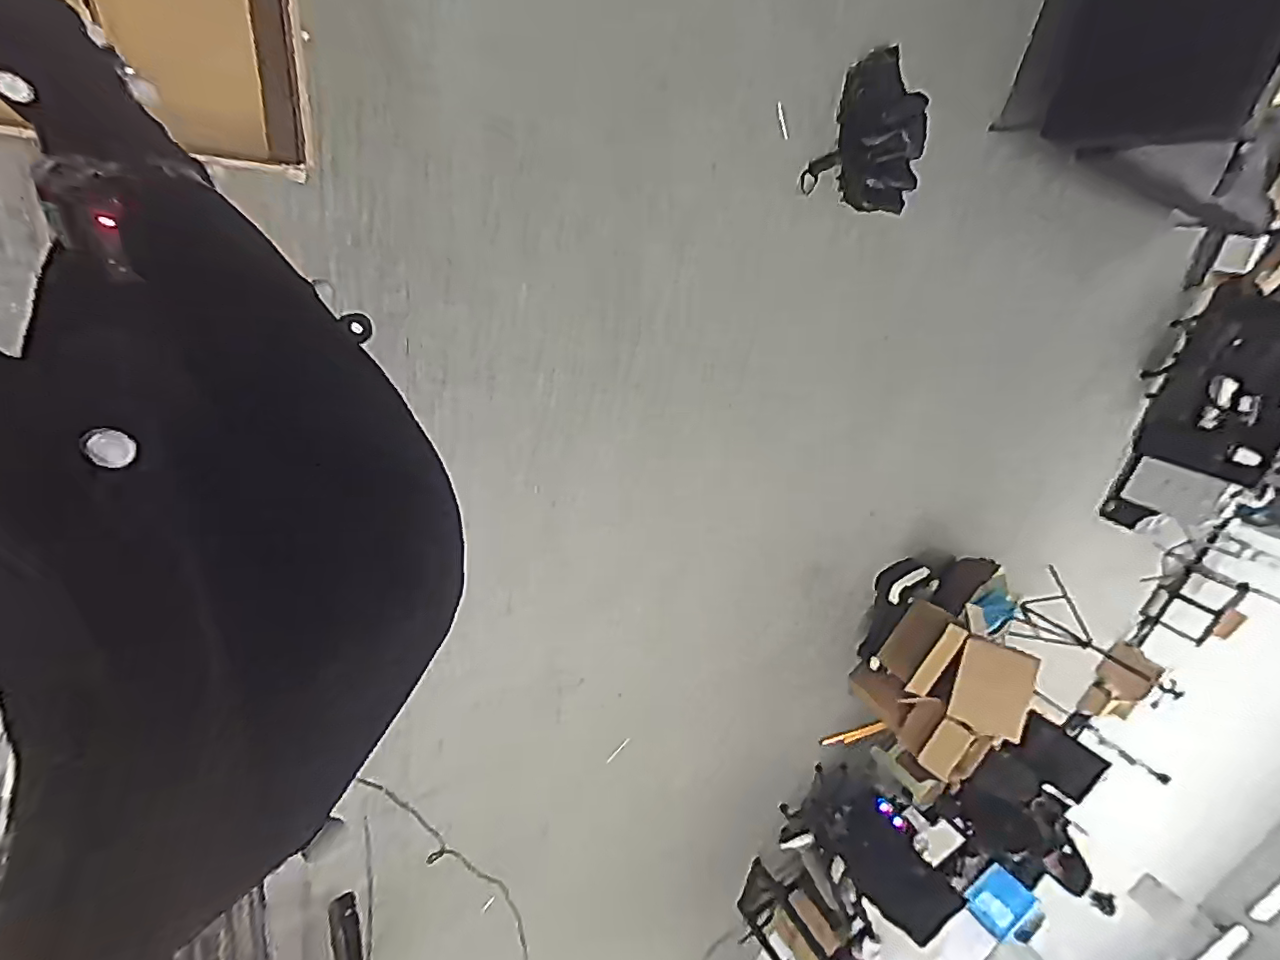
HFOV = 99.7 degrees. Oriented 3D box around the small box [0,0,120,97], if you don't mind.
[{"bbox_3d":[-0.818,-0.623,0.704,0.179,0.176,0.168,-5,116,-32],"label":"small box"}]
